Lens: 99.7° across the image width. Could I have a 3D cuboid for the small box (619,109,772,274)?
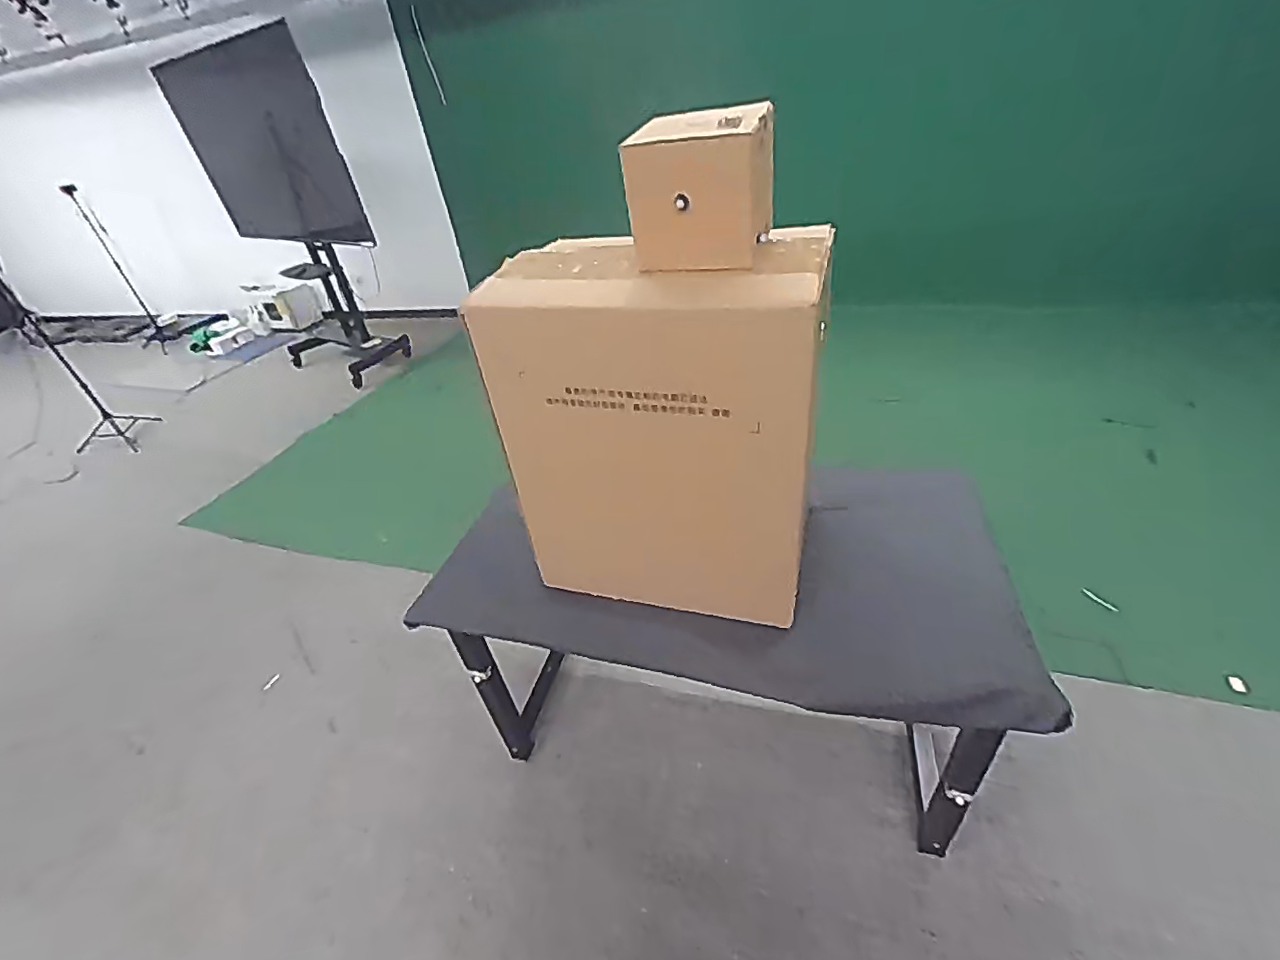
[{"bbox_3d":[0.091,-0.411,0.782,0.179,0.176,0.168,6,45,20],"label":"small box"}]
